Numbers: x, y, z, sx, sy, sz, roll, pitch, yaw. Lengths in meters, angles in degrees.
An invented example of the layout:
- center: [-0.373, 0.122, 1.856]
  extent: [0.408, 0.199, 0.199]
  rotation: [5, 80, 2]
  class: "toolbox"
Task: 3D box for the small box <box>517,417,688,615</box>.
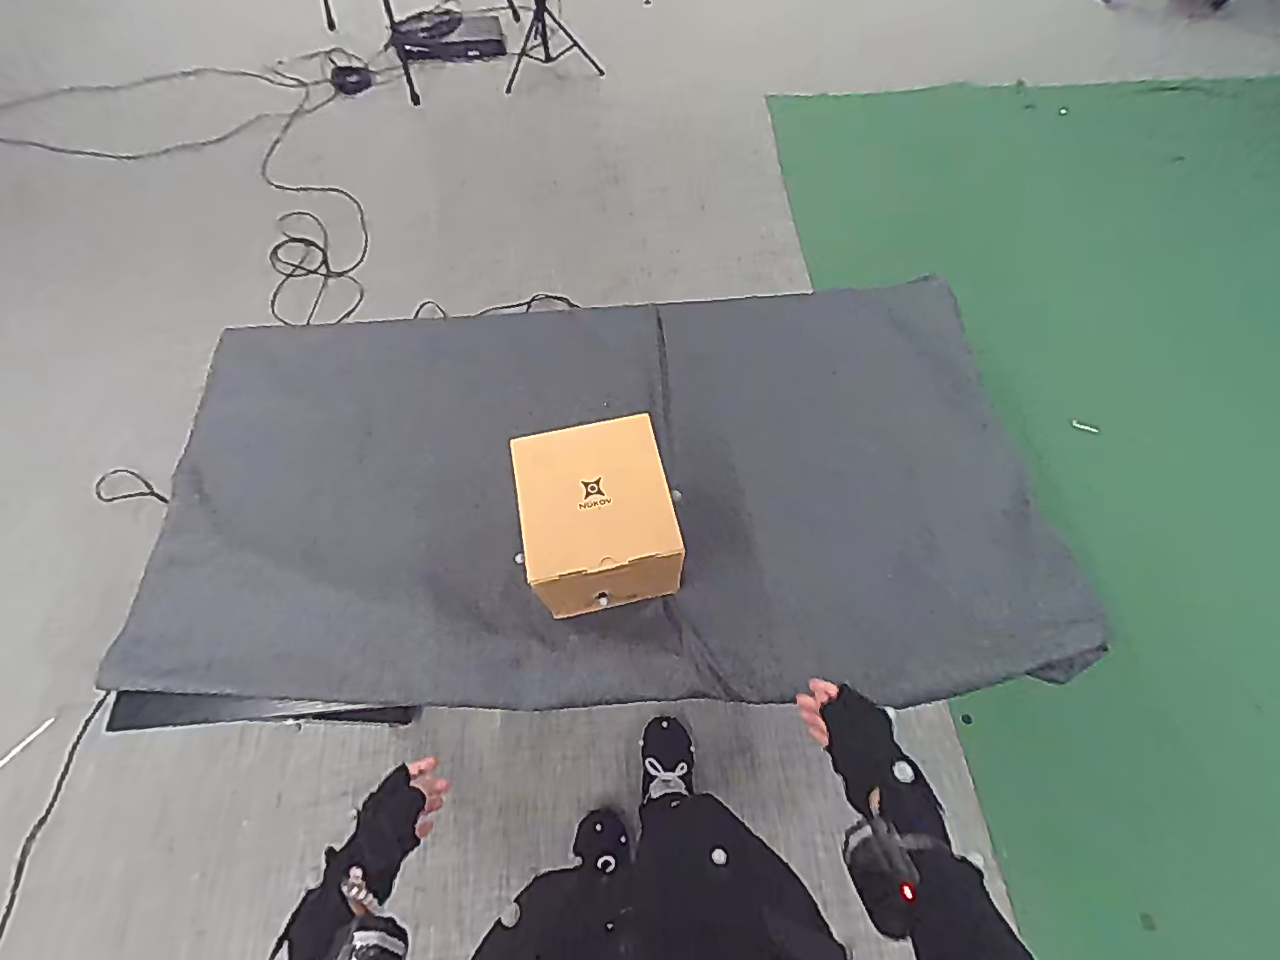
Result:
- center: [-0.048, 0.050, 0.663]
  extent: [0.168, 0.176, 0.179]
  rotation: [-11, 65, -6]
  class: "small box"
